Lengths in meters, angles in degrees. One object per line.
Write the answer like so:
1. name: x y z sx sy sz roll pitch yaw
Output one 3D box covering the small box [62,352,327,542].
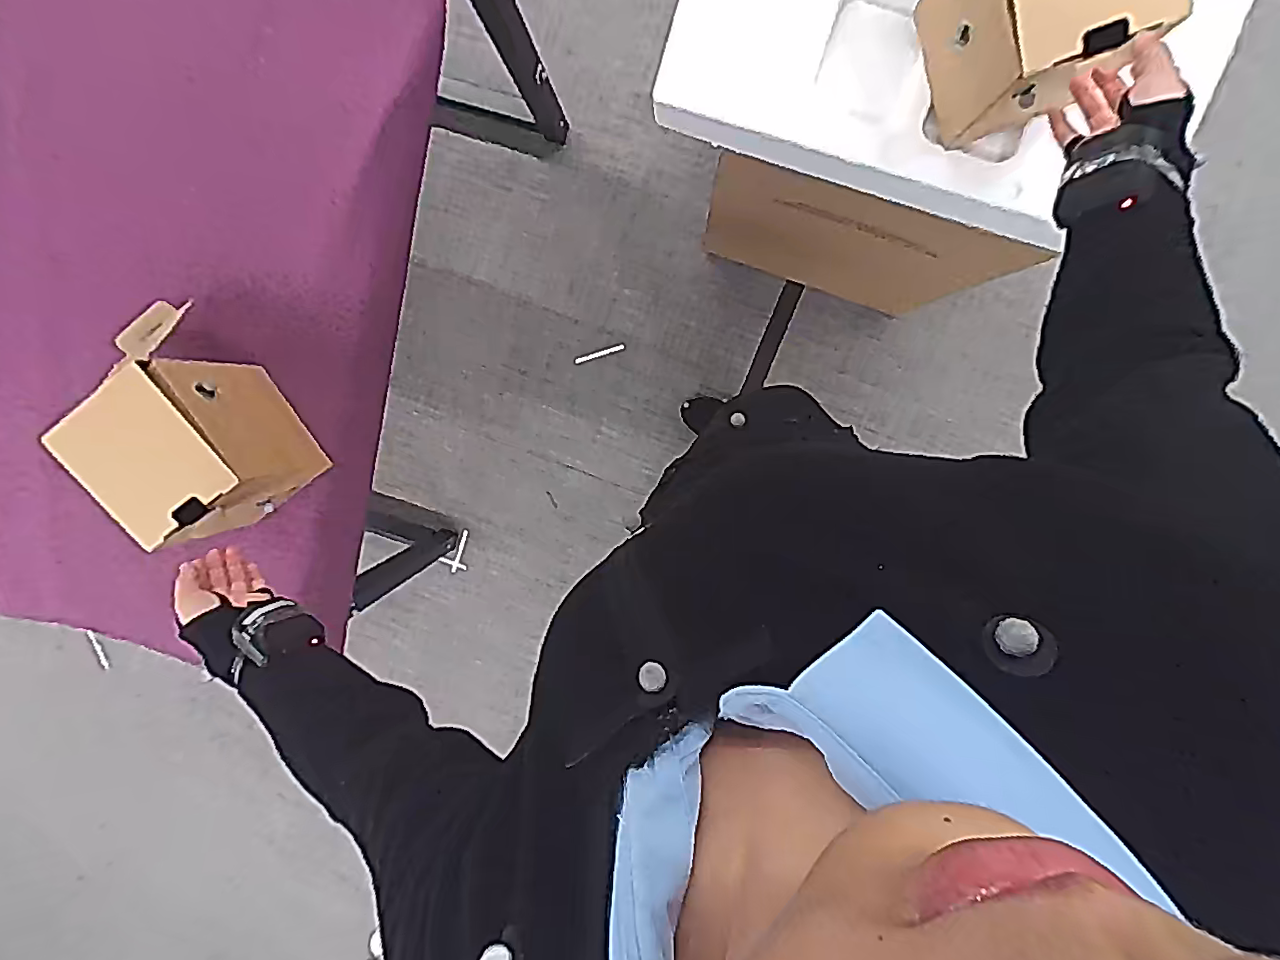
1. small box: -0.574 -0.046 0.721 0.168 0.176 0.179 -33 94 10
